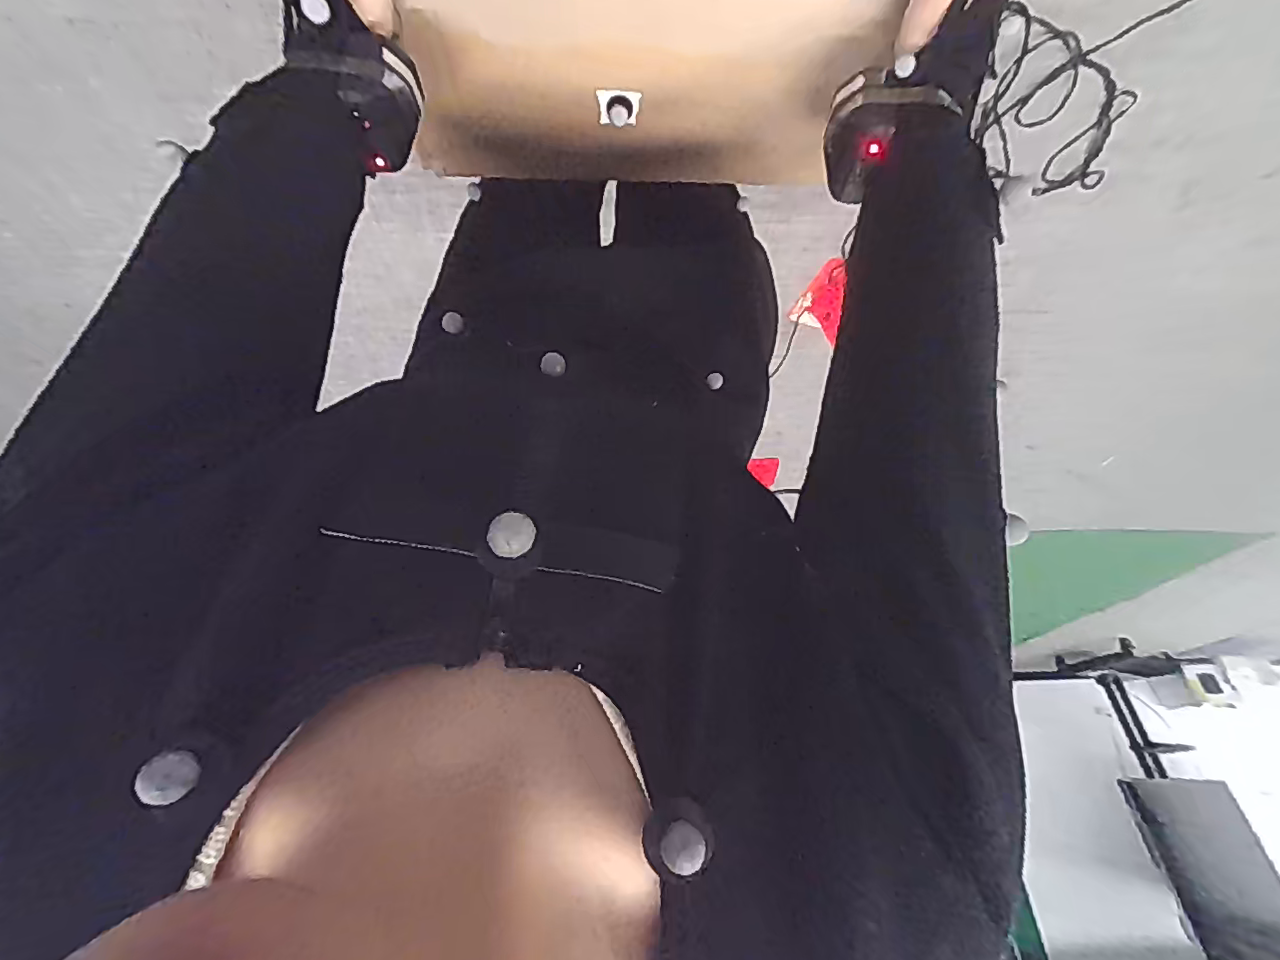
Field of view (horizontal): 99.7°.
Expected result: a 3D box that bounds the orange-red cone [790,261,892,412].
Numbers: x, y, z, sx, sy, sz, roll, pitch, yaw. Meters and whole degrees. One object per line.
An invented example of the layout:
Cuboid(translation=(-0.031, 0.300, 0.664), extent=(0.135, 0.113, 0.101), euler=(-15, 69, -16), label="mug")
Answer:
Cuboid(translation=(0.514, -0.313, 1.286), extent=(0.199, 0.360, 0.198), euler=(10, 147, -19), label="orange-red cone")

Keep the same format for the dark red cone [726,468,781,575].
Cuboid(translation=(0.436, 0.155, 1.974), extent=(0.202, 0.394, 0.201), euler=(-4, 150, 4), label="dark red cone")
